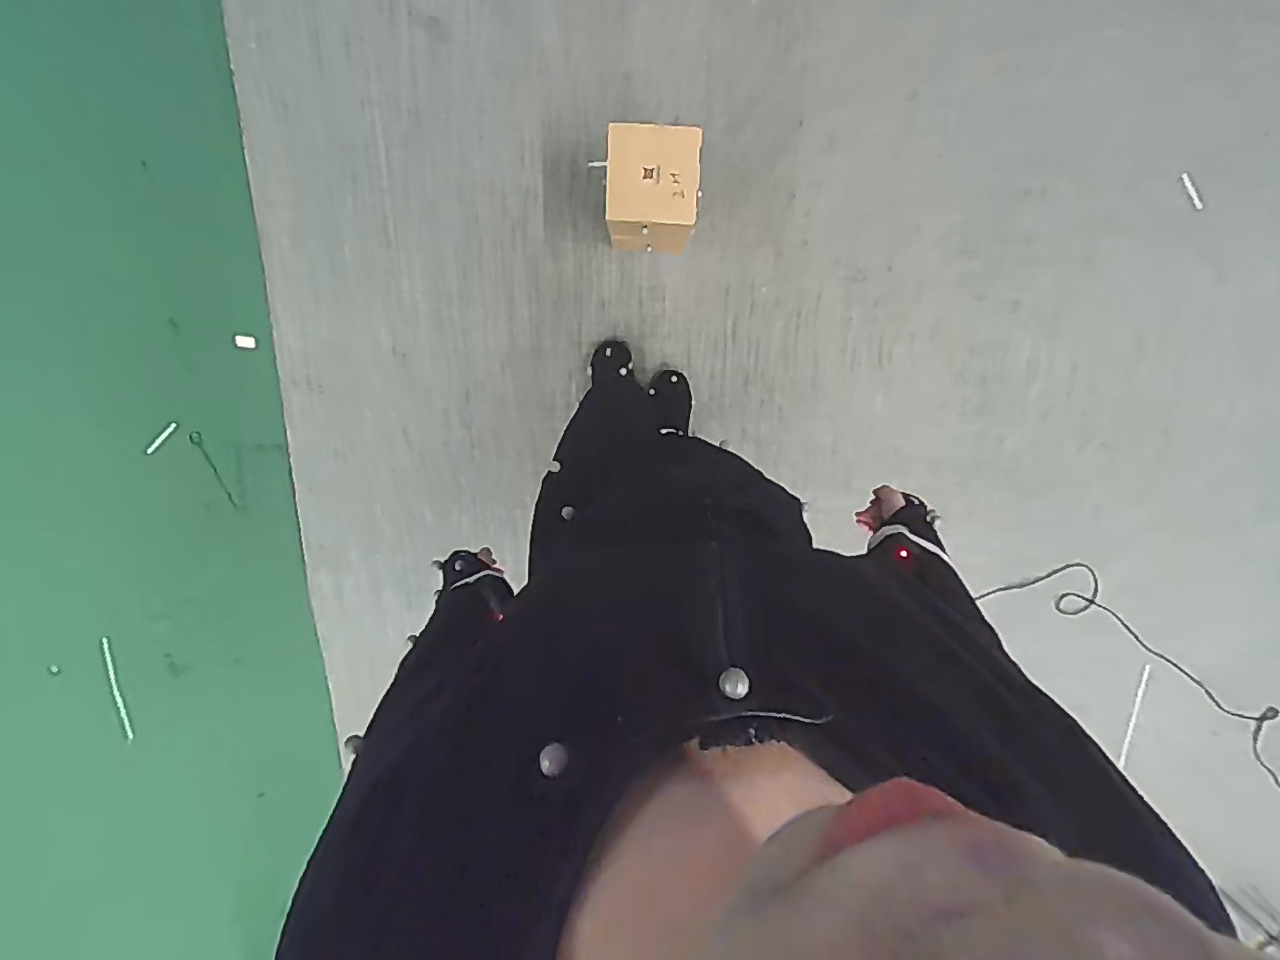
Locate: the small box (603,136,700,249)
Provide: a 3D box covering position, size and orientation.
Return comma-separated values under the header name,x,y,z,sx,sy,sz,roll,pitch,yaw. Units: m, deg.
name,x,y,z,sx,sy,sz,roll,pitch,yaw
small box,0.022,-0.573,1.100,0.179,0.176,0.168,4,105,0
